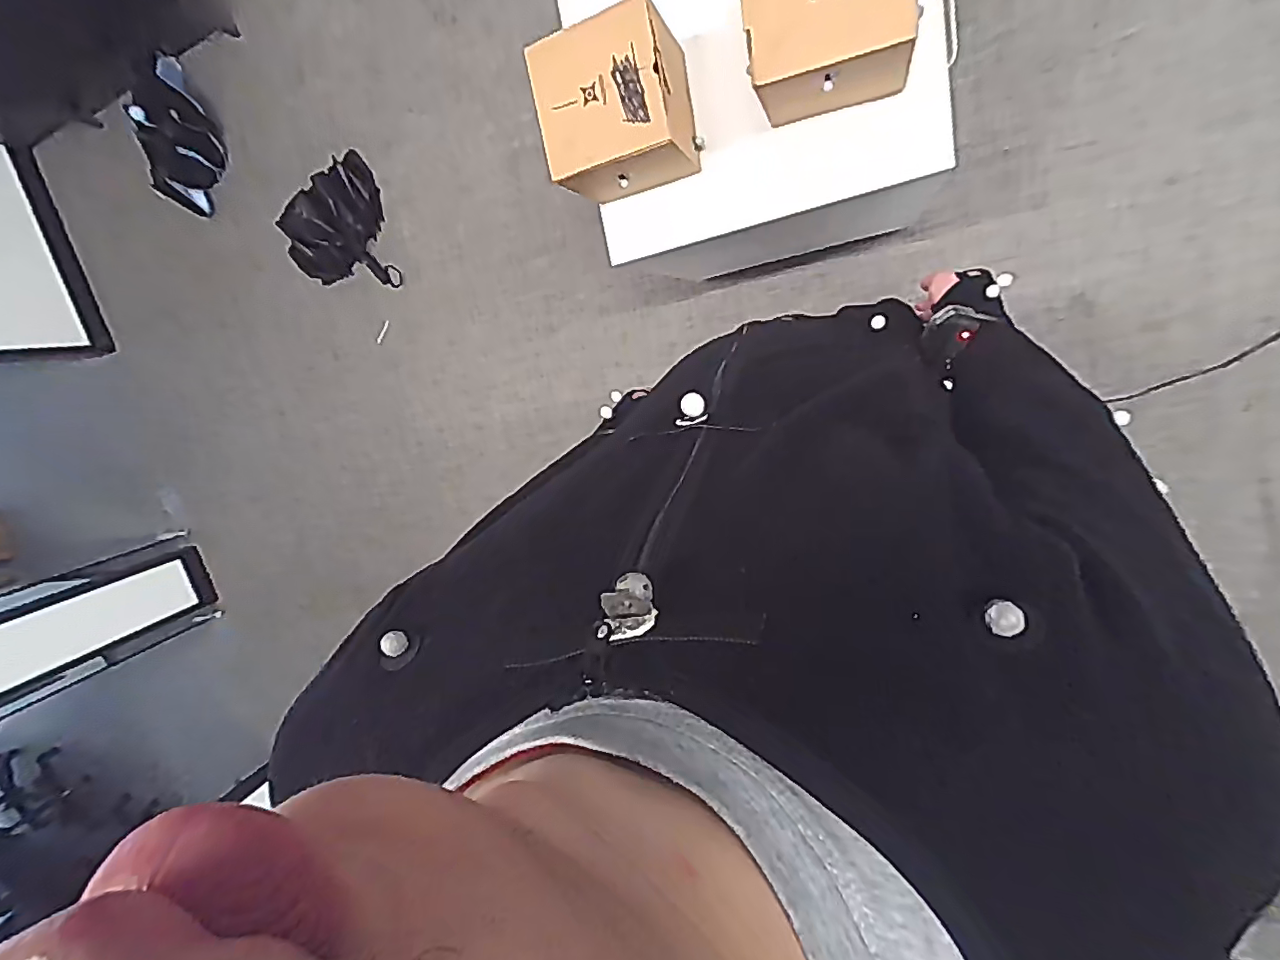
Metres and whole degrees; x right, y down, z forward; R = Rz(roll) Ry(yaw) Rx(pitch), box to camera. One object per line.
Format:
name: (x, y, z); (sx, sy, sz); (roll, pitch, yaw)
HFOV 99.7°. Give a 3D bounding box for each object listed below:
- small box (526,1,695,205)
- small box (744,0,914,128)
small box: (-0.029, -0.510, 0.764); (0.179, 0.176, 0.168); (-6, 103, 23)
small box: (0.227, -0.556, 0.653); (0.179, 0.176, 0.168); (-2, 107, 21)
